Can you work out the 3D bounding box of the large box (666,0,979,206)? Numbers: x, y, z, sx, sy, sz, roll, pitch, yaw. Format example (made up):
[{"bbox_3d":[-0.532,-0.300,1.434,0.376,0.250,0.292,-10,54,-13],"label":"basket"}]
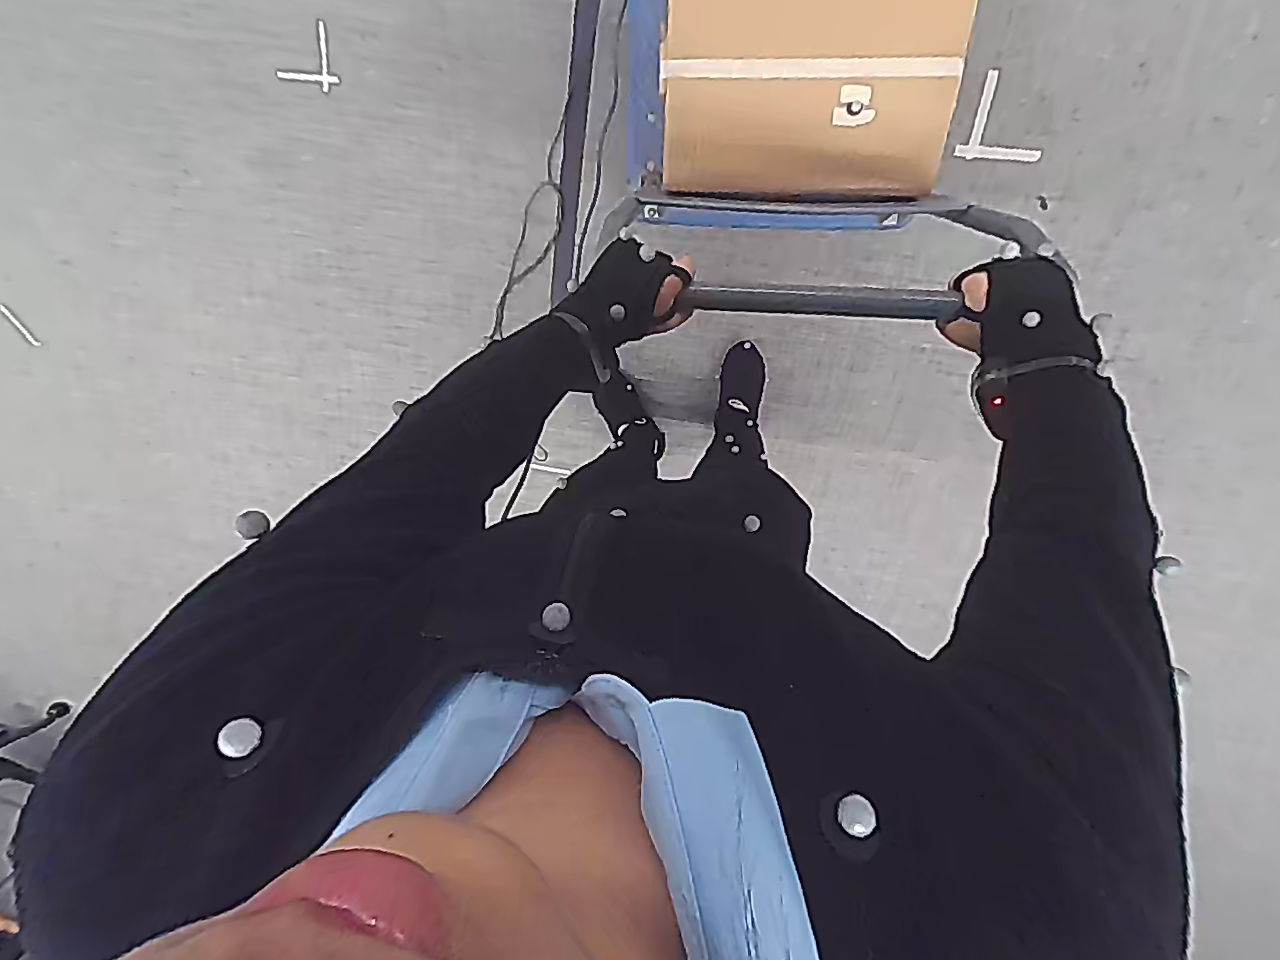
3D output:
[{"bbox_3d":[0.249,-0.624,0.875,0.408,0.320,0.320,3,119,4],"label":"large box"}]
